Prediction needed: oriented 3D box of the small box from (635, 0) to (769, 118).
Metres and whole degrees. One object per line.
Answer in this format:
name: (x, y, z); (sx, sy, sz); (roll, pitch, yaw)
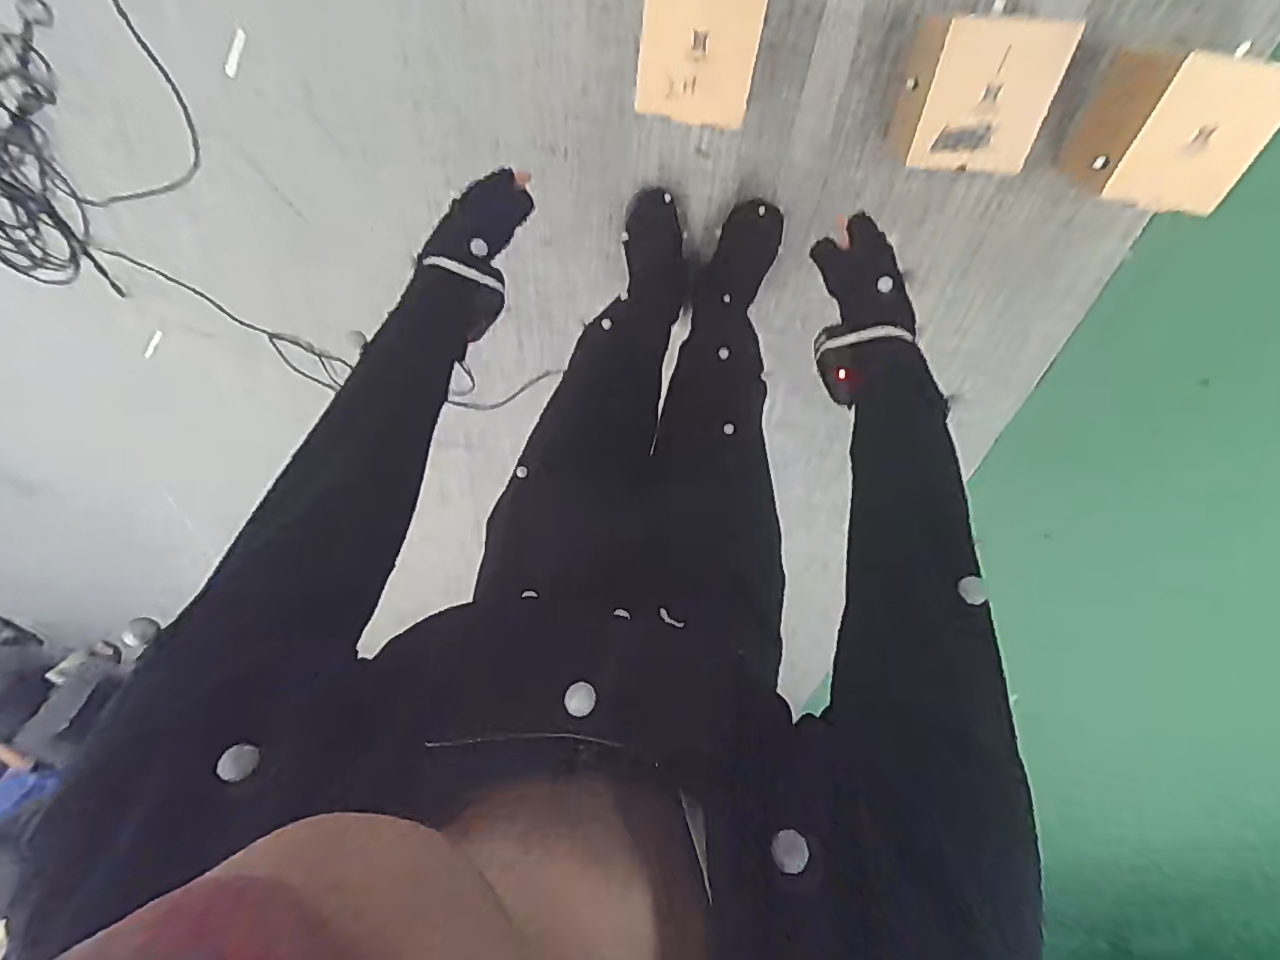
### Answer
small box: (0.095, -0.667, 0.799); (0.168, 0.176, 0.179); (12, 134, 2)

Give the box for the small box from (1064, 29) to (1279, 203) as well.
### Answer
small box: (0.777, -0.534, 0.790); (0.168, 0.176, 0.179); (11, 134, 3)

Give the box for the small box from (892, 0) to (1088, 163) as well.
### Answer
small box: (0.489, -0.590, 0.794); (0.168, 0.176, 0.179); (7, 132, 5)
